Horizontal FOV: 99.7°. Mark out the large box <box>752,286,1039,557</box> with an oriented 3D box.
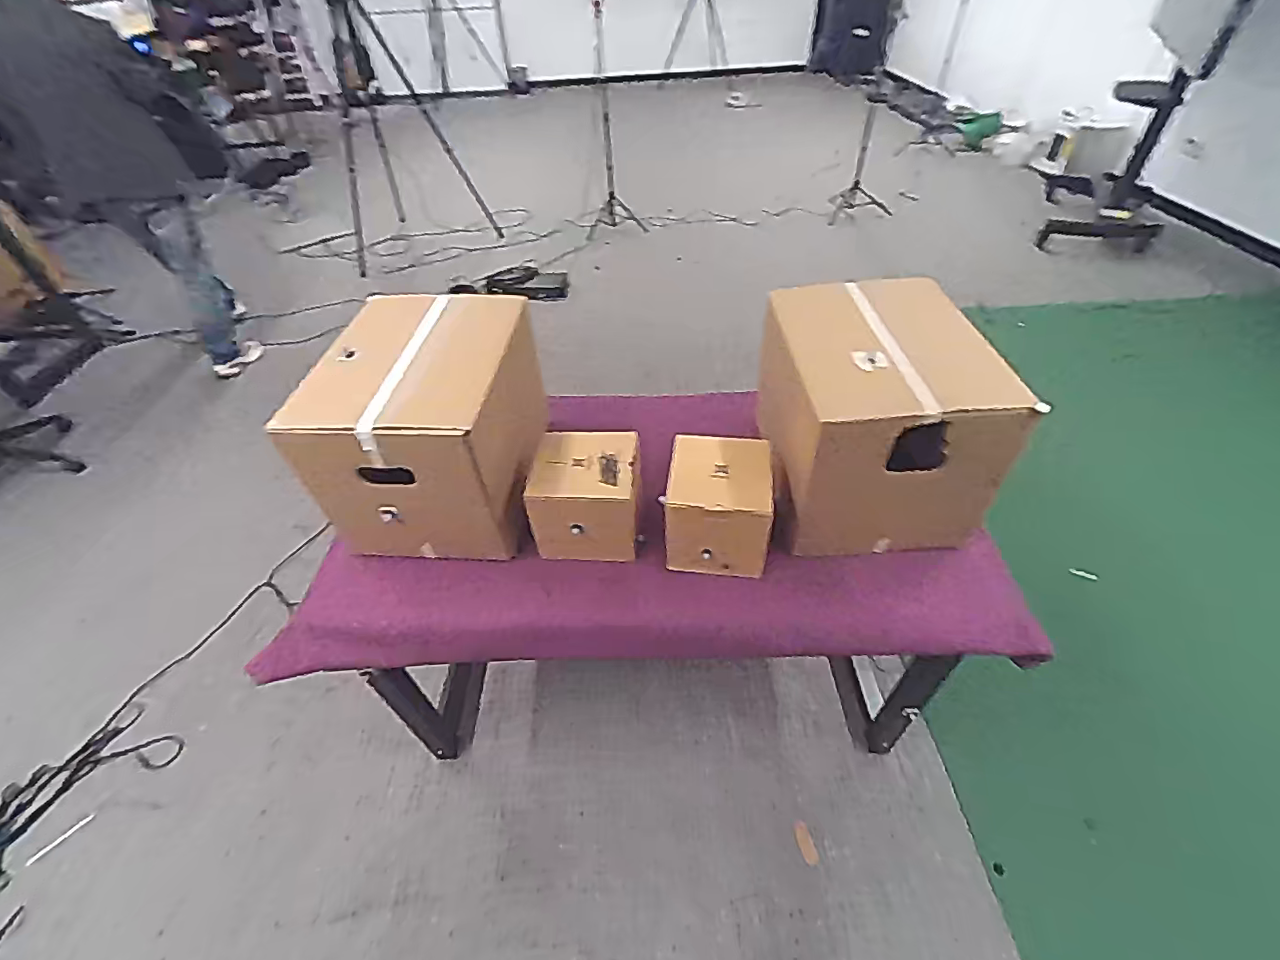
[{"bbox_3d":[0.405,-0.114,0.997,0.320,0.320,0.408,-4,45,2],"label":"large box"}]
